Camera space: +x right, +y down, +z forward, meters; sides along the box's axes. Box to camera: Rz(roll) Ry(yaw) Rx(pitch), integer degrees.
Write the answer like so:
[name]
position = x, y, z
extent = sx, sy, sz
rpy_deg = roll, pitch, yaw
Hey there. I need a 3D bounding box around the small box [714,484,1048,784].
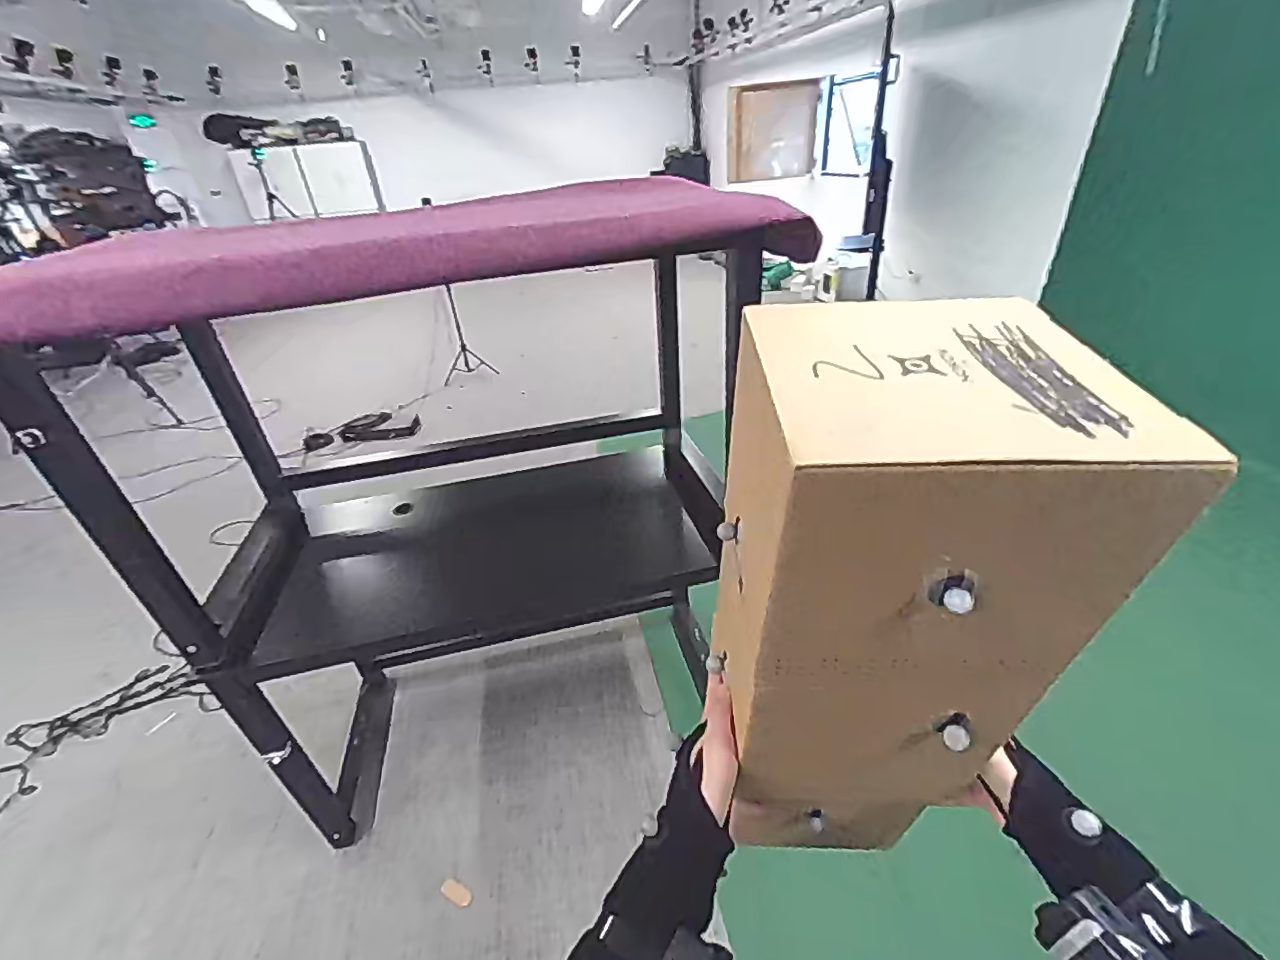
[small box]
position = 0.157, 0.120, 0.428
extent = 0.179, 0.176, 0.168
rpy_deg = 0, 39, 2
